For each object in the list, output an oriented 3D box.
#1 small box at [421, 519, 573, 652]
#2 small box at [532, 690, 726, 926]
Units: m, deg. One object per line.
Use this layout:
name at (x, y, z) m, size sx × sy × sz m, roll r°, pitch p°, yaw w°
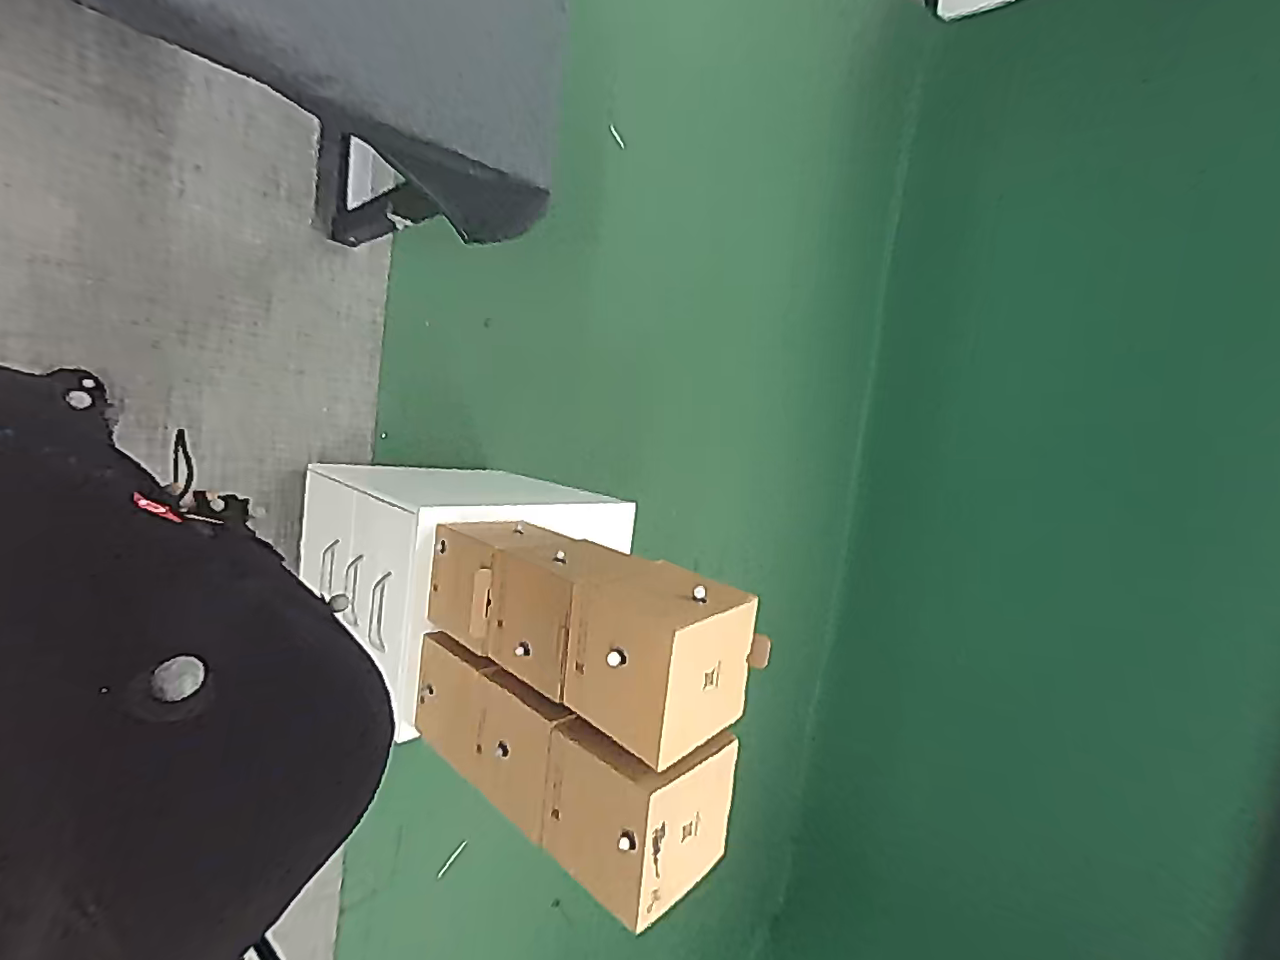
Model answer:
small box at (-0.239, 0.162, 0.893) m, size 0.179 × 0.176 × 0.168 m, roll 2°, pitch 98°, yaw -50°
small box at (-0.013, 0.398, 0.700) m, size 0.179 × 0.176 × 0.168 m, roll 0°, pitch 98°, yaw -50°
